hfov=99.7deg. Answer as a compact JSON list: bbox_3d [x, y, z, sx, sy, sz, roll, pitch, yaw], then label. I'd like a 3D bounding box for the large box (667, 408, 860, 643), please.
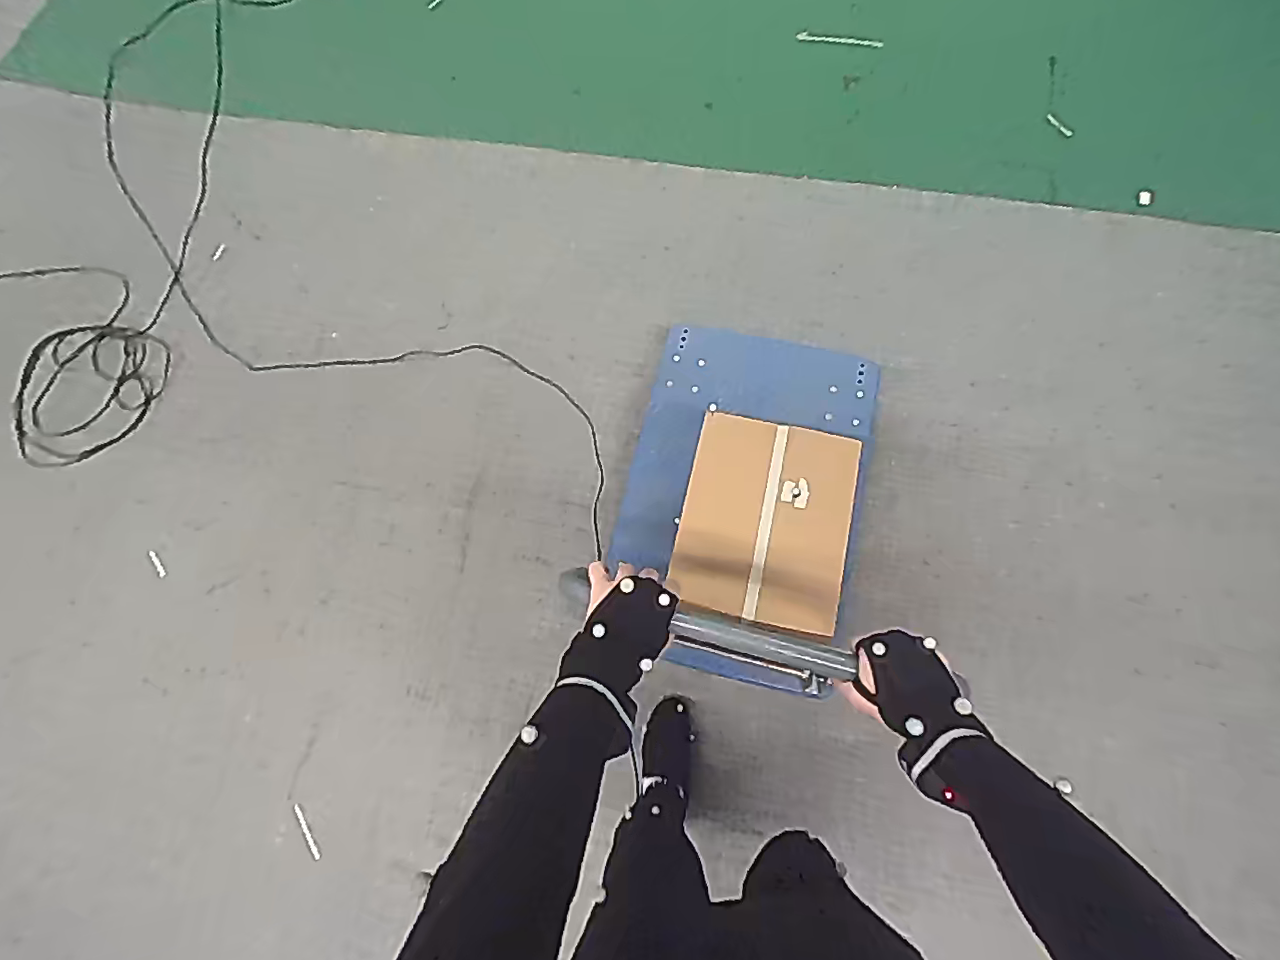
[{"bbox_3d":[0.249,0.113,1.163,0.320,0.320,0.408,13,73,7],"label":"large box"}]
